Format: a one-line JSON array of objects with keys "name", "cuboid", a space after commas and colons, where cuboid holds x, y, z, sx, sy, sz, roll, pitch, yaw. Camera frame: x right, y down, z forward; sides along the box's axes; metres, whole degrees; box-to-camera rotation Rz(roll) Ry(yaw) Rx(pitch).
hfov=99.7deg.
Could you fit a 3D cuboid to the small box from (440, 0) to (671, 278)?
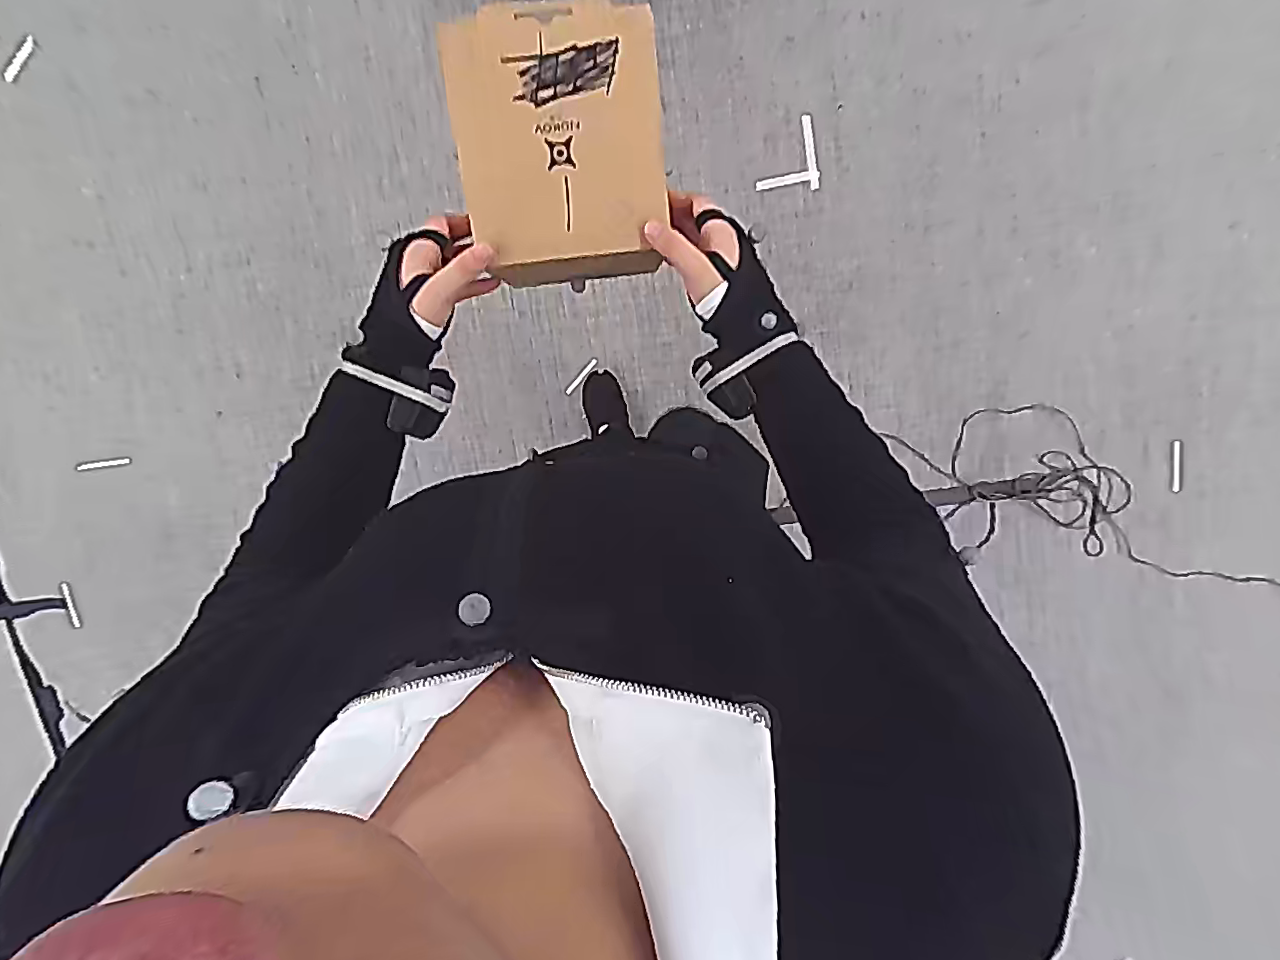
[{"name": "small box", "cuboid": [-0.067, -0.297, 0.502, 0.168, 0.176, 0.179, -6, 105, -2]}]
